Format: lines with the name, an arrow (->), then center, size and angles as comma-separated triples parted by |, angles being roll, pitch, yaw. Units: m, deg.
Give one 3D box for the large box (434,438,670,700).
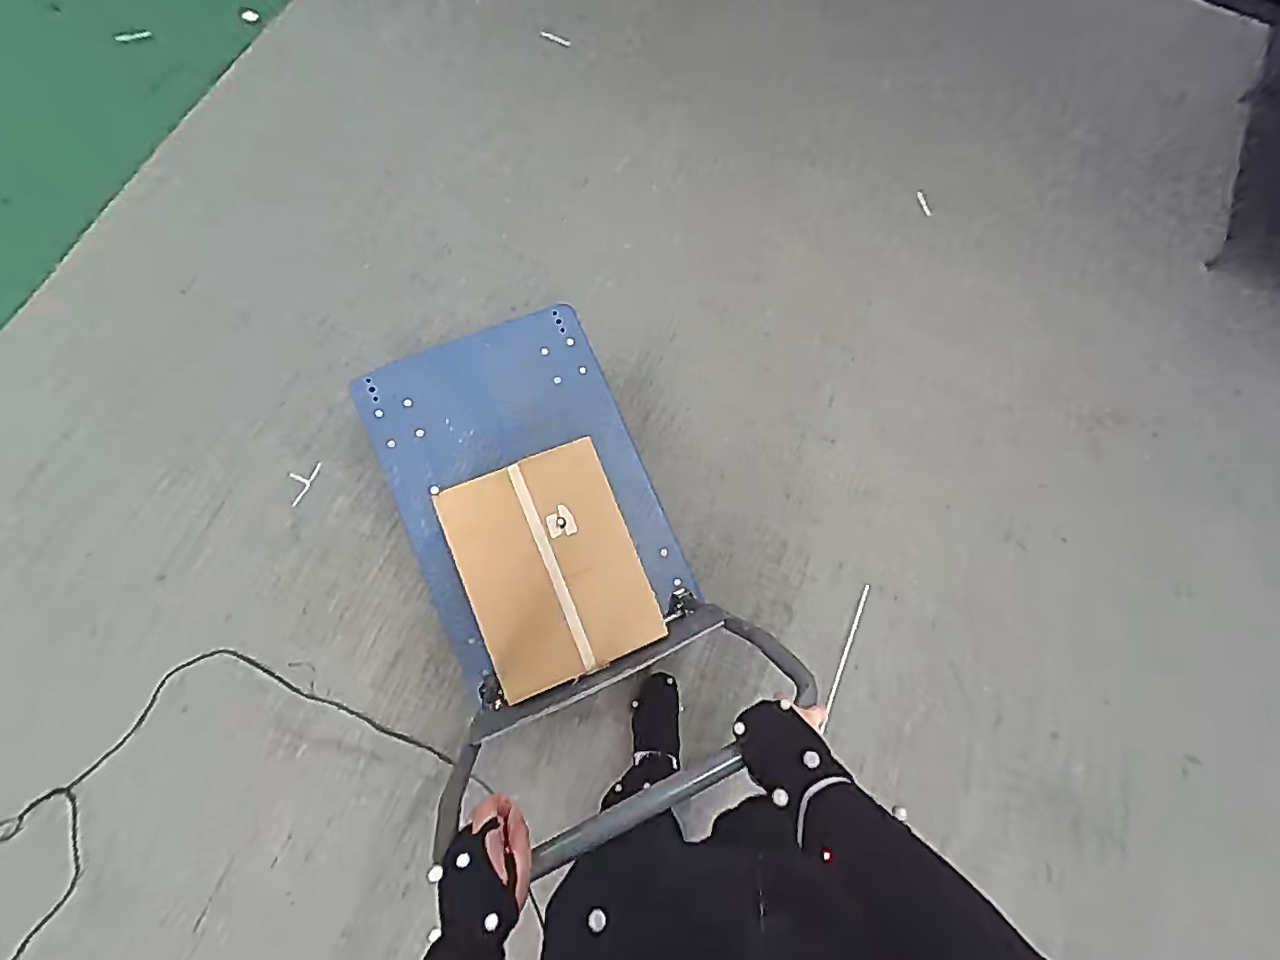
large box -> -0.174, 0.178, 1.141 | 0.320, 0.320, 0.408 | -23, 84, -10
